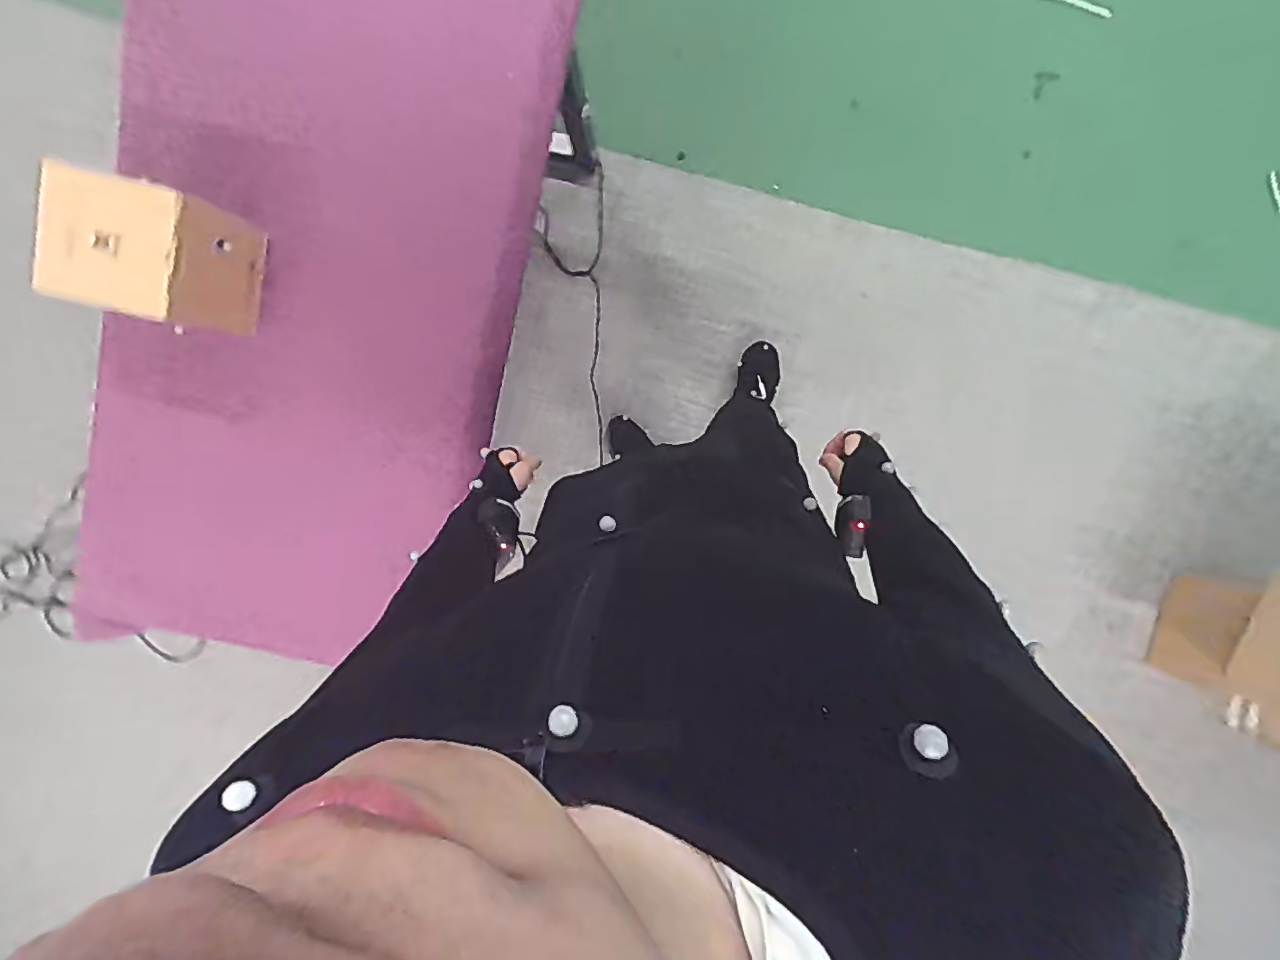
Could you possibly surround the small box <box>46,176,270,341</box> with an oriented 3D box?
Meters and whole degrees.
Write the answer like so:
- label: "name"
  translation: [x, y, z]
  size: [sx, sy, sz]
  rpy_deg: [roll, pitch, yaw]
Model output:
- label: "small box"
  translation: [-0.679, -0.304, 0.781]
  size: [0.179, 0.176, 0.168]
  rpy_deg: [12, 97, 0]
